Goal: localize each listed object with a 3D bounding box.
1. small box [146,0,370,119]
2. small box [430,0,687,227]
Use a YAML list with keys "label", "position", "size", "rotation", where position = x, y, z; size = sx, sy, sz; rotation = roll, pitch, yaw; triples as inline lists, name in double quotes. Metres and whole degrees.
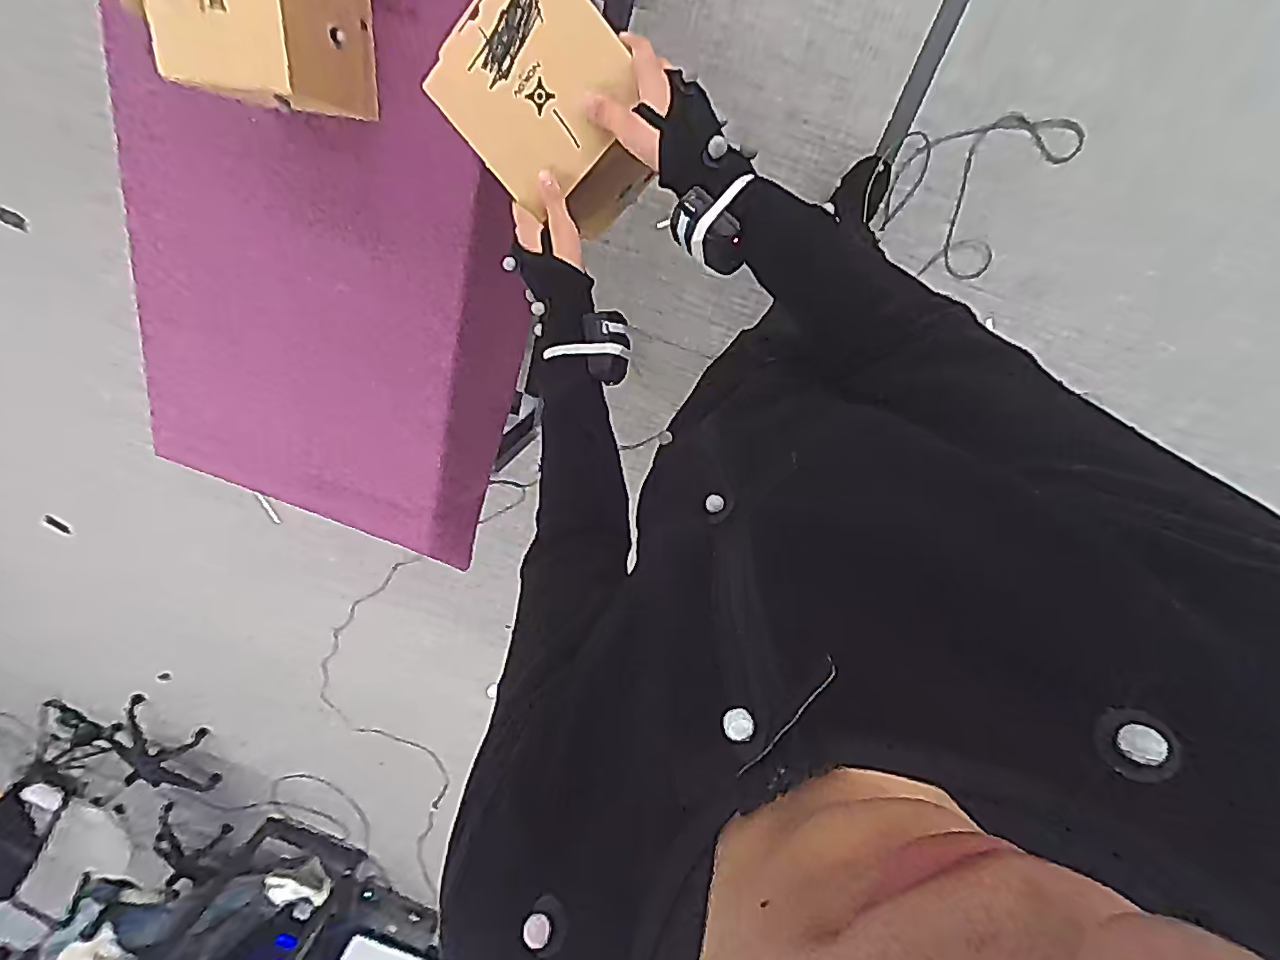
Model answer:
- label: "small box"
  position: [-0.462, -0.567, 0.674]
  size: [0.179, 0.176, 0.168]
  rotation: [11, 115, 7]
- label: "small box"
  position: [-0.073, -0.397, 0.573]
  size: [0.168, 0.176, 0.179]
  rotation: [-38, 96, 23]
